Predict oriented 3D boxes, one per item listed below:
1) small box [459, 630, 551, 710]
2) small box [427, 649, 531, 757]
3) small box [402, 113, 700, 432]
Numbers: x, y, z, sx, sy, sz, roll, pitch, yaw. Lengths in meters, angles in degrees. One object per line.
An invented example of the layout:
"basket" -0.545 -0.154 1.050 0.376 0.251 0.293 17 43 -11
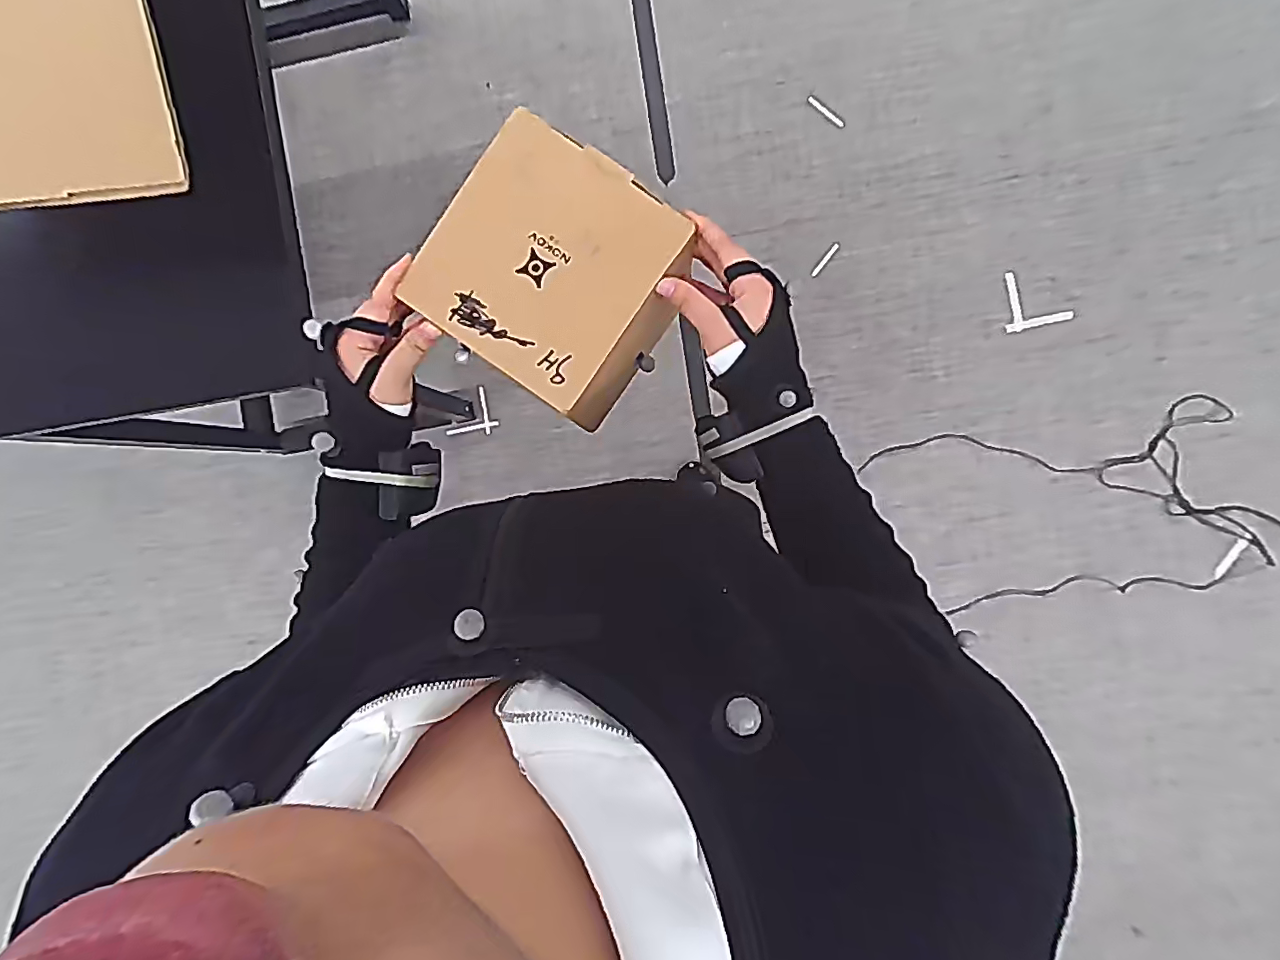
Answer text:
"small box" -0.355 0.516 1.448 0.179 0.176 0.168 -13 90 3
"small box" -0.370 0.521 1.286 0.179 0.176 0.168 -16 89 5
"small box" -0.067 -0.165 0.489 0.168 0.176 0.179 35 90 4
